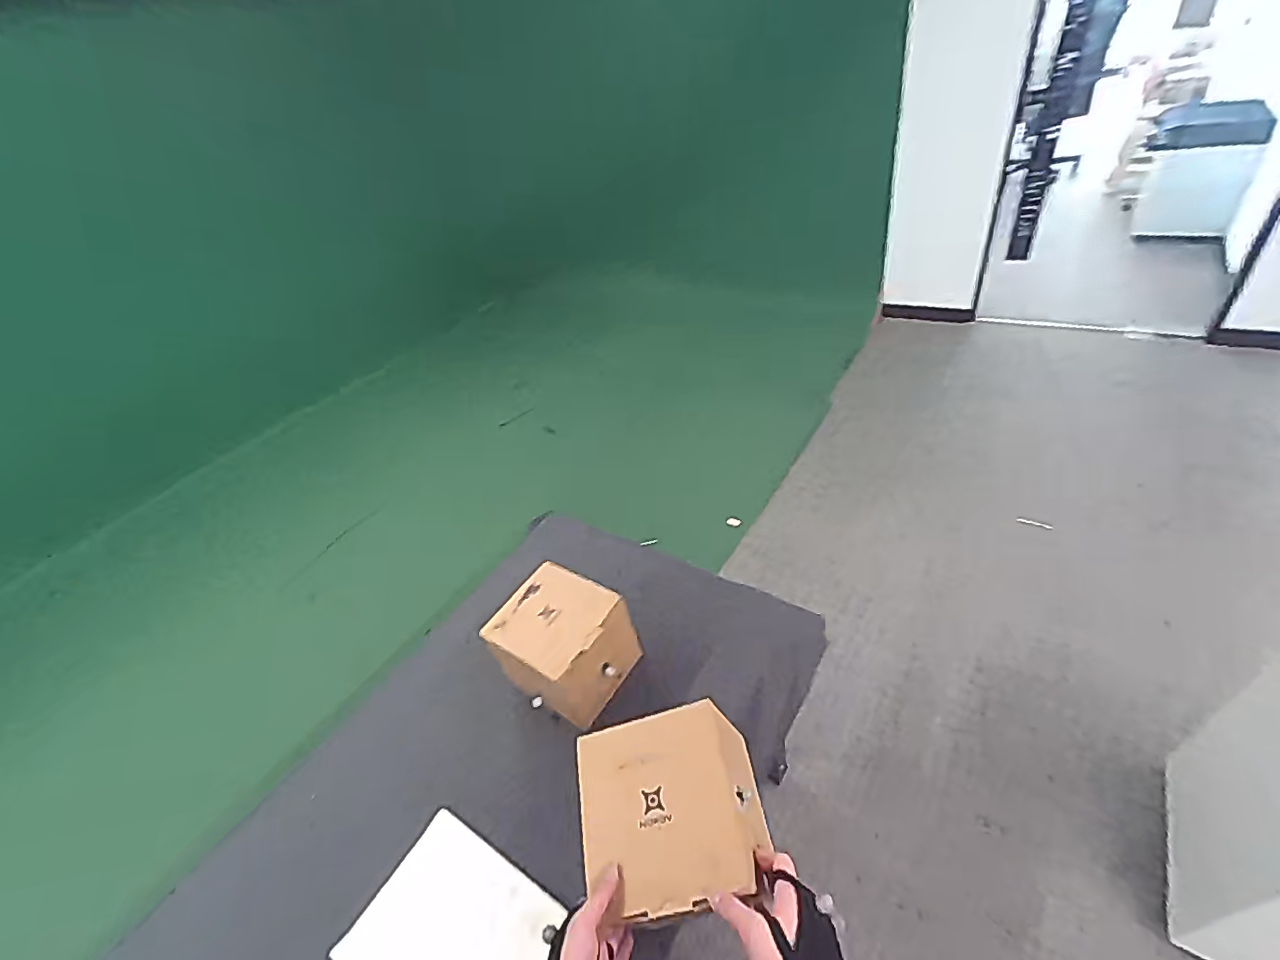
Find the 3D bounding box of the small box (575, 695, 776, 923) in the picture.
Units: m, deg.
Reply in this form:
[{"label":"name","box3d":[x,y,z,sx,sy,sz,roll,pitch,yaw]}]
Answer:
[{"label":"small box","box3d":[0.041,0.373,0.607,0.168,0.176,0.179,-20,46,10]}]

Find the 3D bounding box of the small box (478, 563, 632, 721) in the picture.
[{"label":"small box","box3d":[-0.133,0.277,0.916,0.179,0.176,0.168,19,50,31]}]
